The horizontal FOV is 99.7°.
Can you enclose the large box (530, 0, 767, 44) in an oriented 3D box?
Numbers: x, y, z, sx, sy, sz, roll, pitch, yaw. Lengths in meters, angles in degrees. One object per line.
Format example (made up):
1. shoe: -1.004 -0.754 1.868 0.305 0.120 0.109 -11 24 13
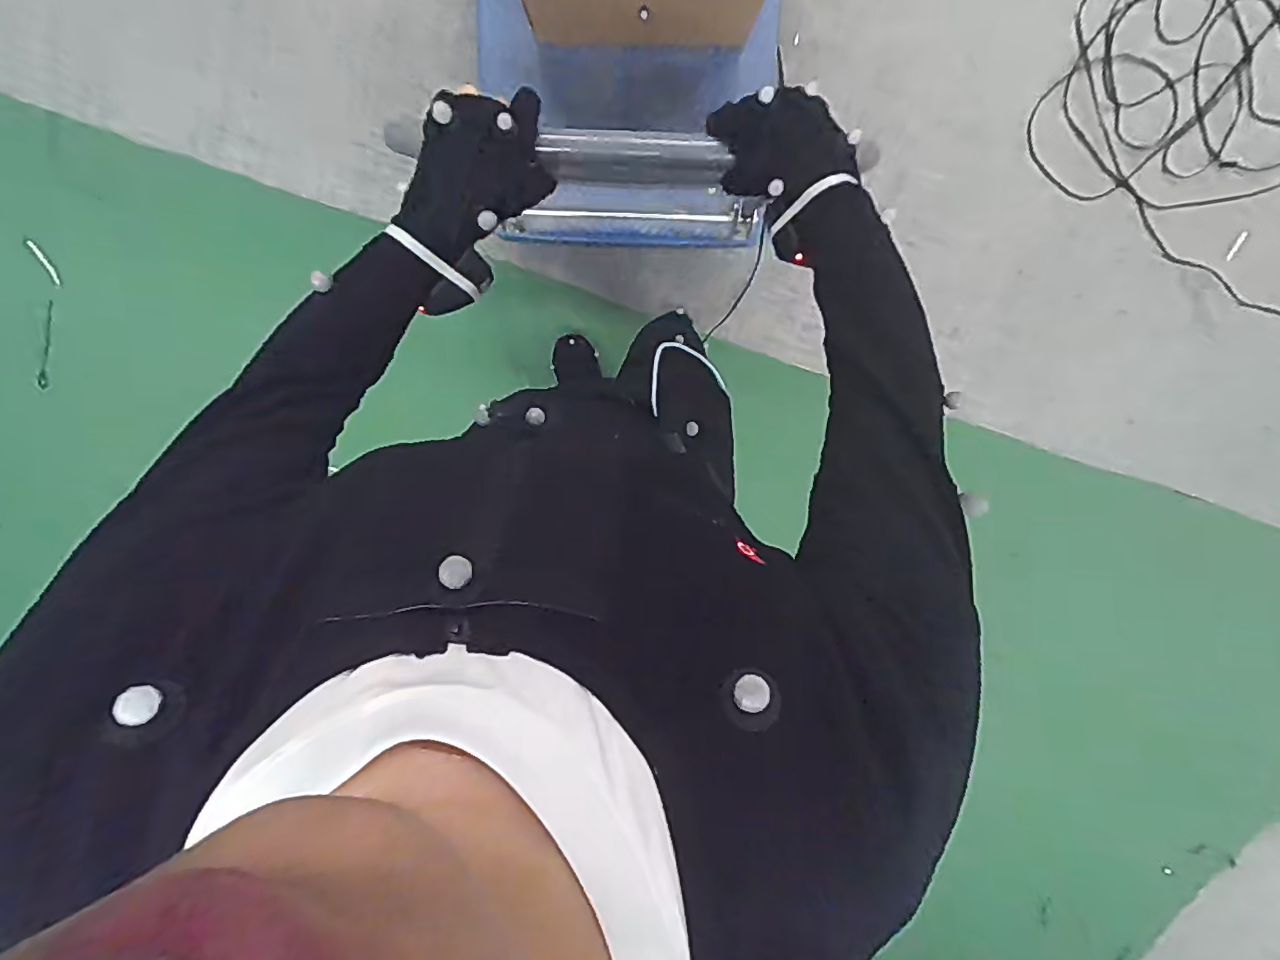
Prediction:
1. large box: 0.014 -0.945 0.863 0.408 0.320 0.320 -1 108 0
